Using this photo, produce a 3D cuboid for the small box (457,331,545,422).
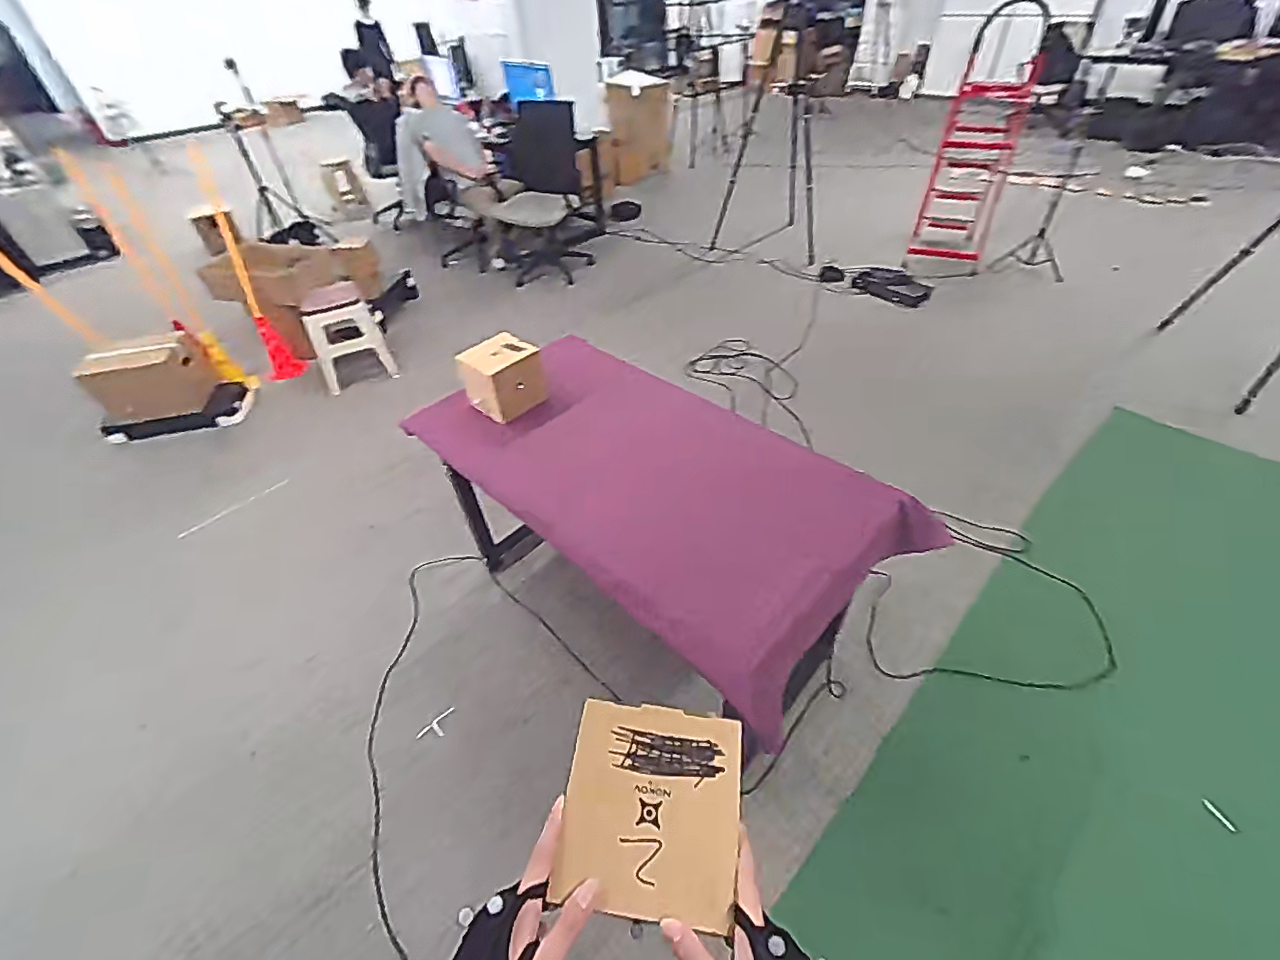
[{"bbox_3d":[-0.392,-0.300,1.561,0.168,0.176,0.179,31,54,31],"label":"small box"}]
